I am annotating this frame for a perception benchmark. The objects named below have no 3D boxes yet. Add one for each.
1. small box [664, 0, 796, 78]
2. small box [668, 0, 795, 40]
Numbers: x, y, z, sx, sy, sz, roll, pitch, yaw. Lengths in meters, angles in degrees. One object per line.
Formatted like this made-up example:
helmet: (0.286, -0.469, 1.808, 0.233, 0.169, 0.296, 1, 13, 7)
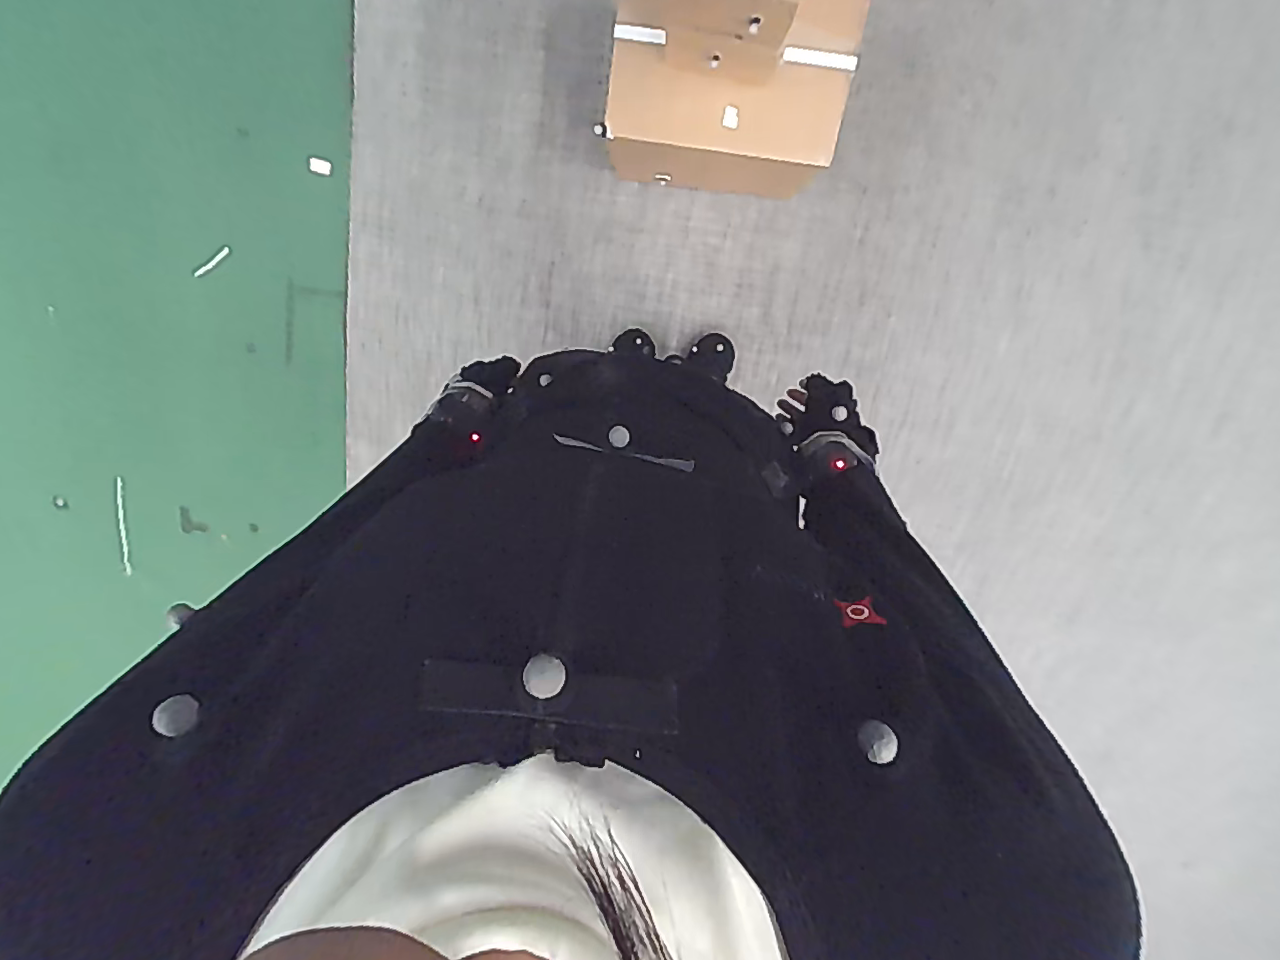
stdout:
small box: (0.142, -0.733, 0.802, 0.179, 0.176, 0.168, 15, 111, -2)
small box: (0.127, -0.677, 0.654, 0.168, 0.176, 0.179, 11, 112, -2)
